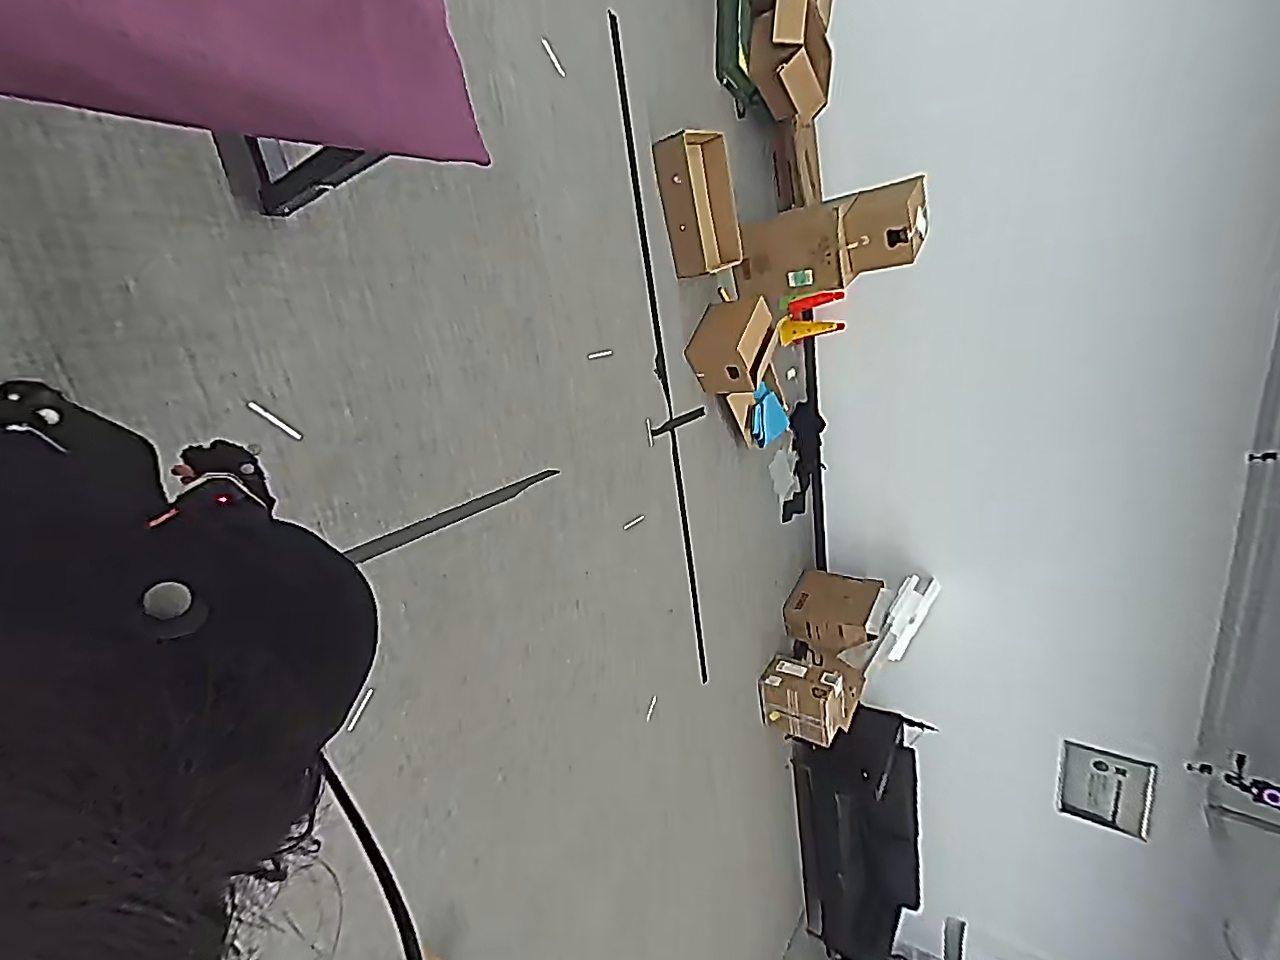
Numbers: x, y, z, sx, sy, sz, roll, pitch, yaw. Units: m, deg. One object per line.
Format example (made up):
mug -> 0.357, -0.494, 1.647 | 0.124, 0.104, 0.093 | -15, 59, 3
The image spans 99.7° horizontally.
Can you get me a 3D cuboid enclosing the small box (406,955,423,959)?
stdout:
small box -> -0.700, 1.669, 1.717 | 0.168, 0.176, 0.179 | -51, 131, -38
